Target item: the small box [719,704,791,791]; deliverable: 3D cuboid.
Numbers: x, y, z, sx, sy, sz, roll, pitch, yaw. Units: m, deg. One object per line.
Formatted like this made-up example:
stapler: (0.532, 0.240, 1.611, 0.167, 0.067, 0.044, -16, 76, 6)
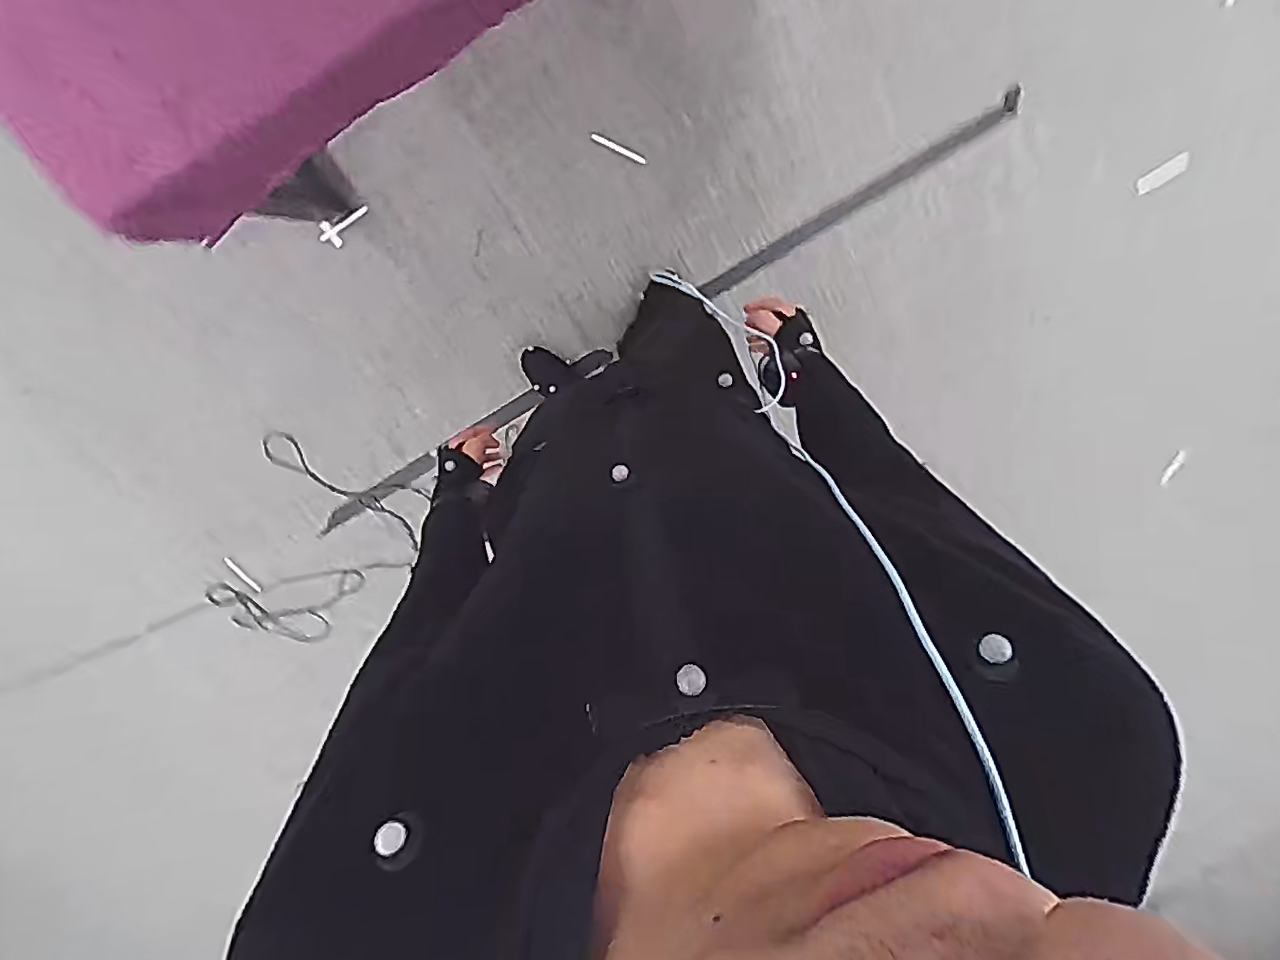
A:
small box: (0.380, 0.903, 1.834, 0.179, 0.176, 0.168, -29, 111, 5)
